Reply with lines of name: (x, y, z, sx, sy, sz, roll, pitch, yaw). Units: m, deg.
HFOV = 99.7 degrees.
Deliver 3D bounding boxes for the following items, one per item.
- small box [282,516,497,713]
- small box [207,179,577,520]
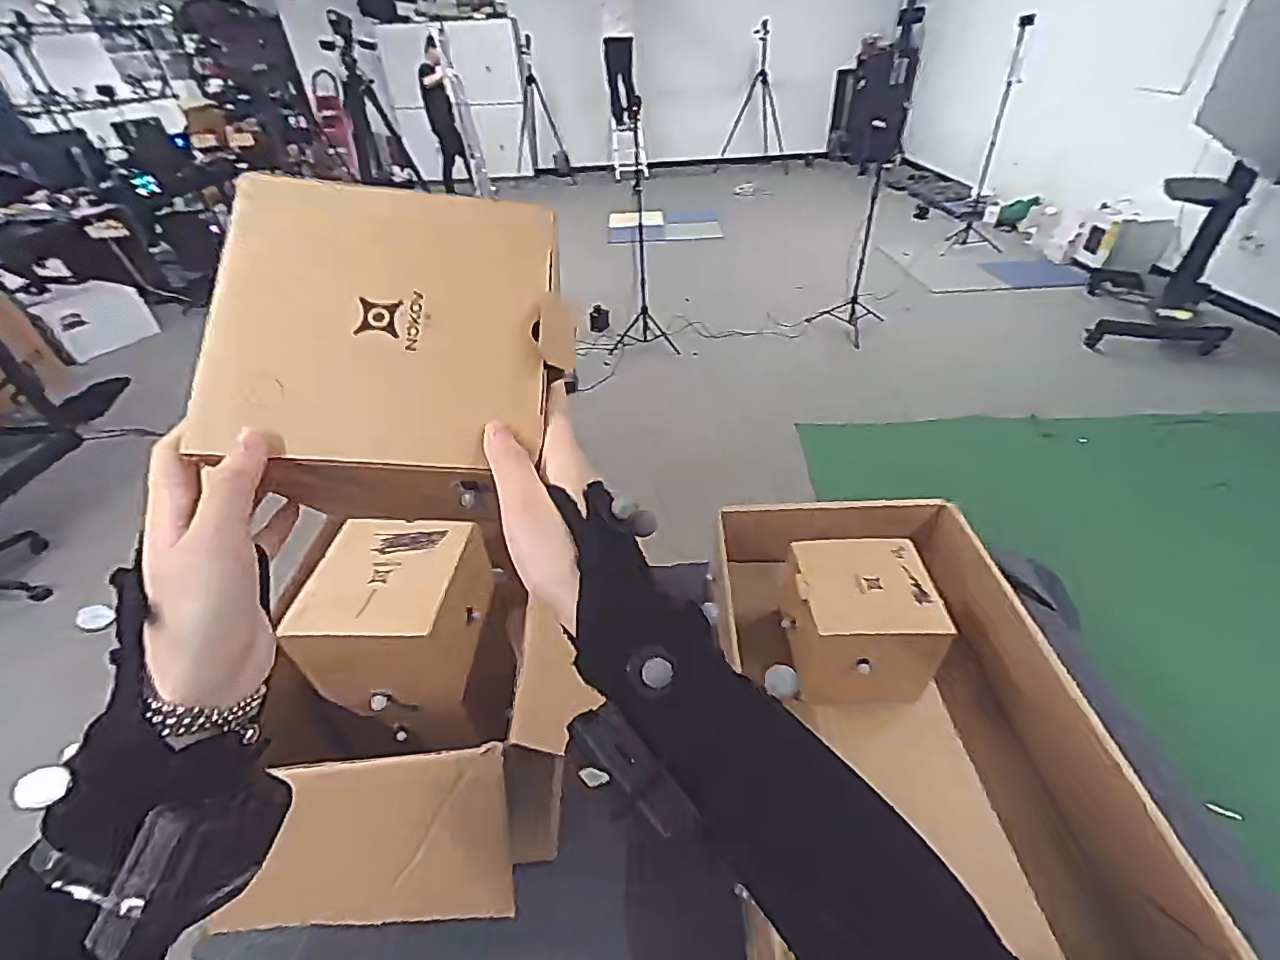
small box: (-0.287, 0.164, 0.672, 0.168, 0.176, 0.179, 0, 41, 3)
small box: (-0.136, -0.066, 0.370, 0.179, 0.176, 0.168, 3, 77, -8)
